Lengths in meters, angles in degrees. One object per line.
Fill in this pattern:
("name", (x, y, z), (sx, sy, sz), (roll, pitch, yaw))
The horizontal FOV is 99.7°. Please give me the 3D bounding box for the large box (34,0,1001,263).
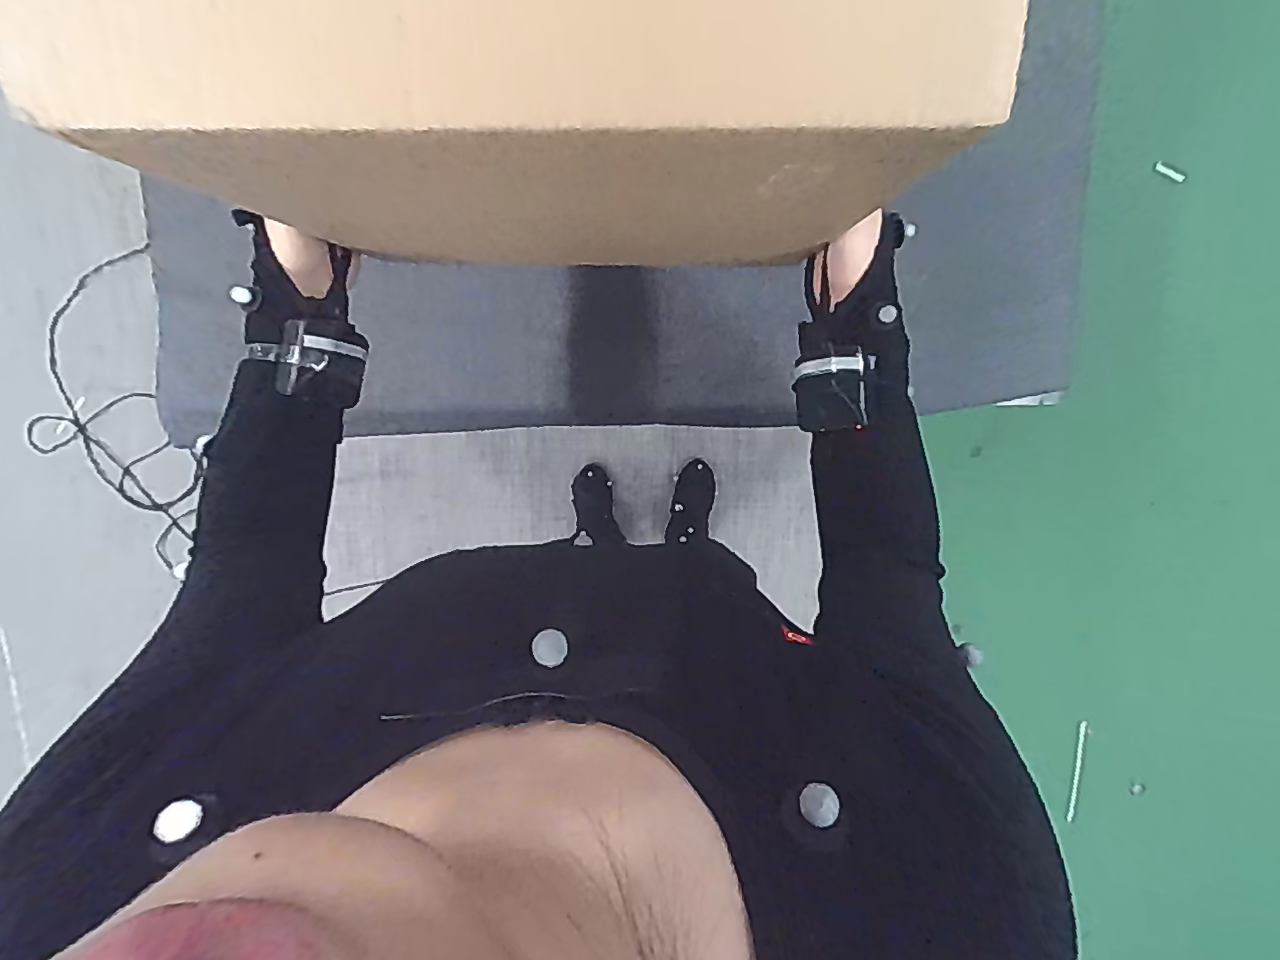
("large box", (-0.051, -0.332, 0.345), (0.408, 0.320, 0.320), (0, 103, 0))
